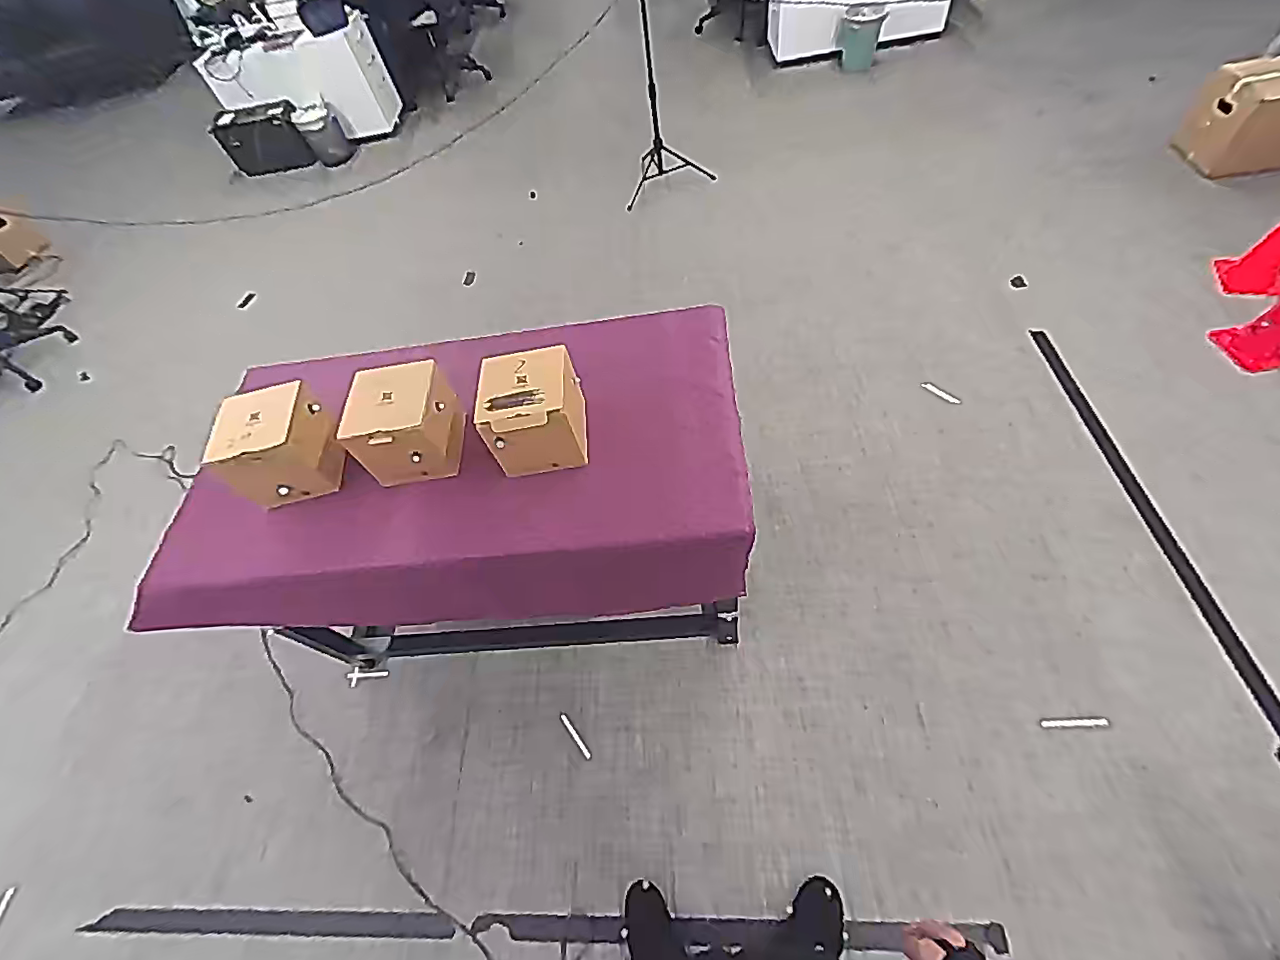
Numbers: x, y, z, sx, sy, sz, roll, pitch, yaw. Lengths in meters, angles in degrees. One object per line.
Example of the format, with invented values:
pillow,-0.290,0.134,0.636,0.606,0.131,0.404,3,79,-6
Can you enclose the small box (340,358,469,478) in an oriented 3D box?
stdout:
small box,-0.462,-0.116,1.093,0.168,0.176,0.179,-7,56,5

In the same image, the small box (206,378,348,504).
small box,-0.729,-0.077,1.113,0.168,0.176,0.179,-13,56,2
